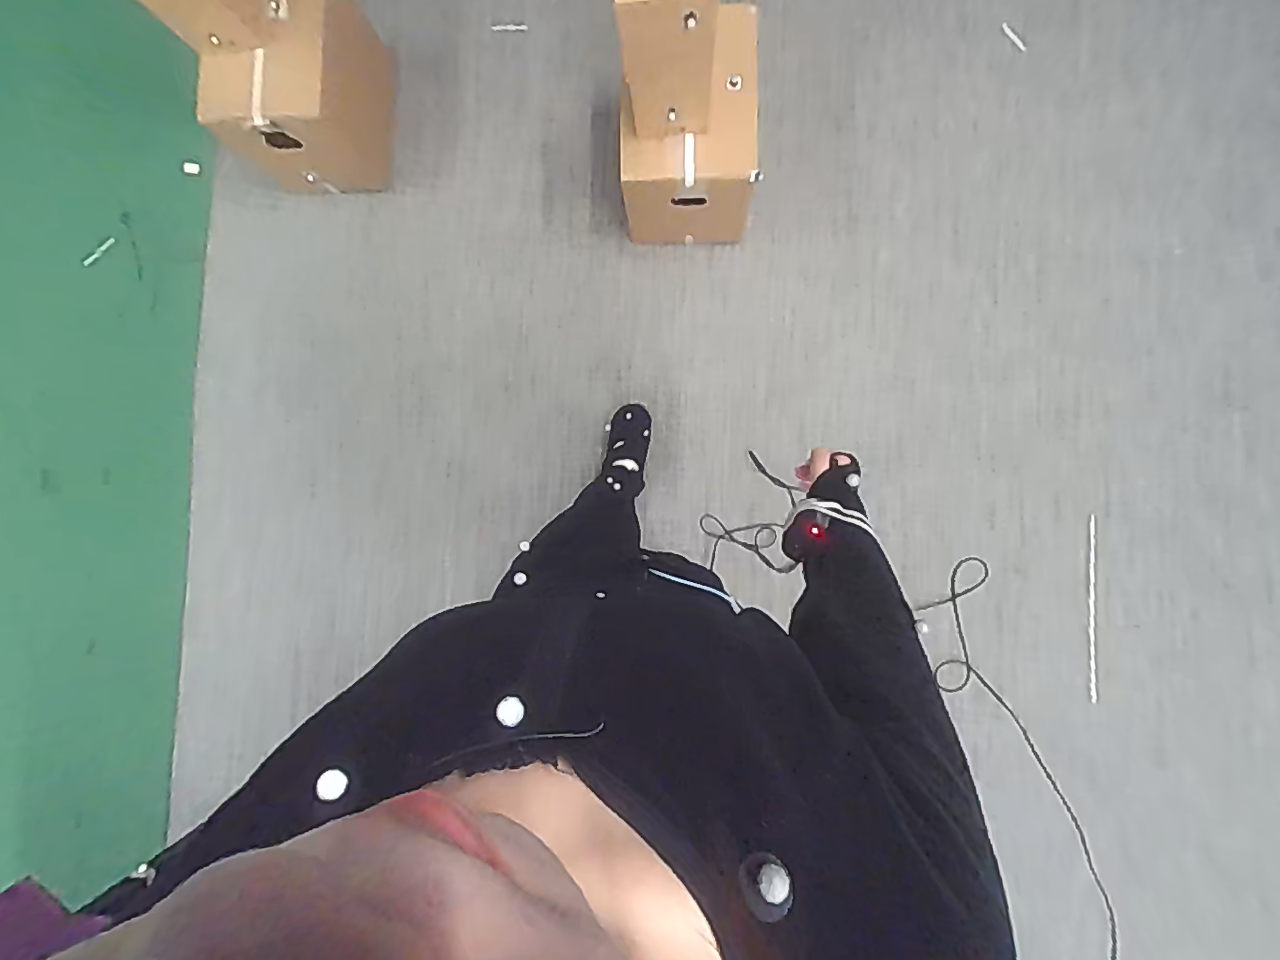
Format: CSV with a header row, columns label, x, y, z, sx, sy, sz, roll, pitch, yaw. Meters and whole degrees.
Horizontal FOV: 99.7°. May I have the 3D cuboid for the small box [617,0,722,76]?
label,x,y,z,sx,sy,sz,roll,pitch,yaw
small box,0.053,-0.868,0.965,0.179,0.176,0.168,-3,87,6

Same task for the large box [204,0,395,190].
label,x,y,z,sx,sy,sz,roll,pitch,yaw
large box,-0.882,-1.056,1.442,0.320,0.320,0.408,1,87,5

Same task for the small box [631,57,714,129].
label,x,y,z,sx,sy,sz,roll,pitch,yaw
small box,0.069,-0.867,1.130,0.168,0.176,0.179,-2,89,5
